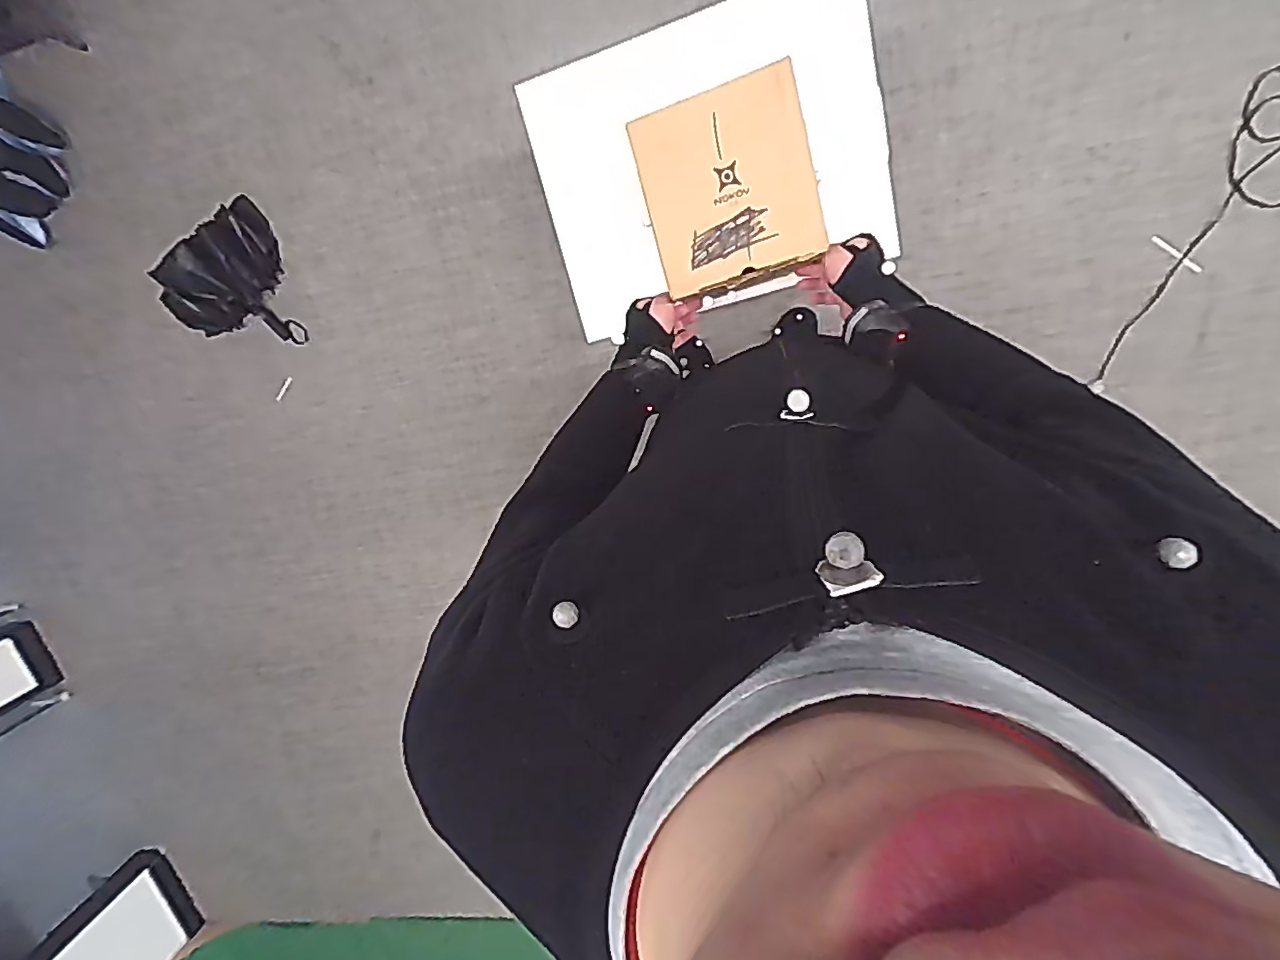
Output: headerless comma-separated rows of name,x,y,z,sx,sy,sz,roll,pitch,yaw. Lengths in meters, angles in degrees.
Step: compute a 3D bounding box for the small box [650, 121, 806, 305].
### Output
small box,0.123,-0.359,0.766,0.168,0.176,0.179,-15,104,13
